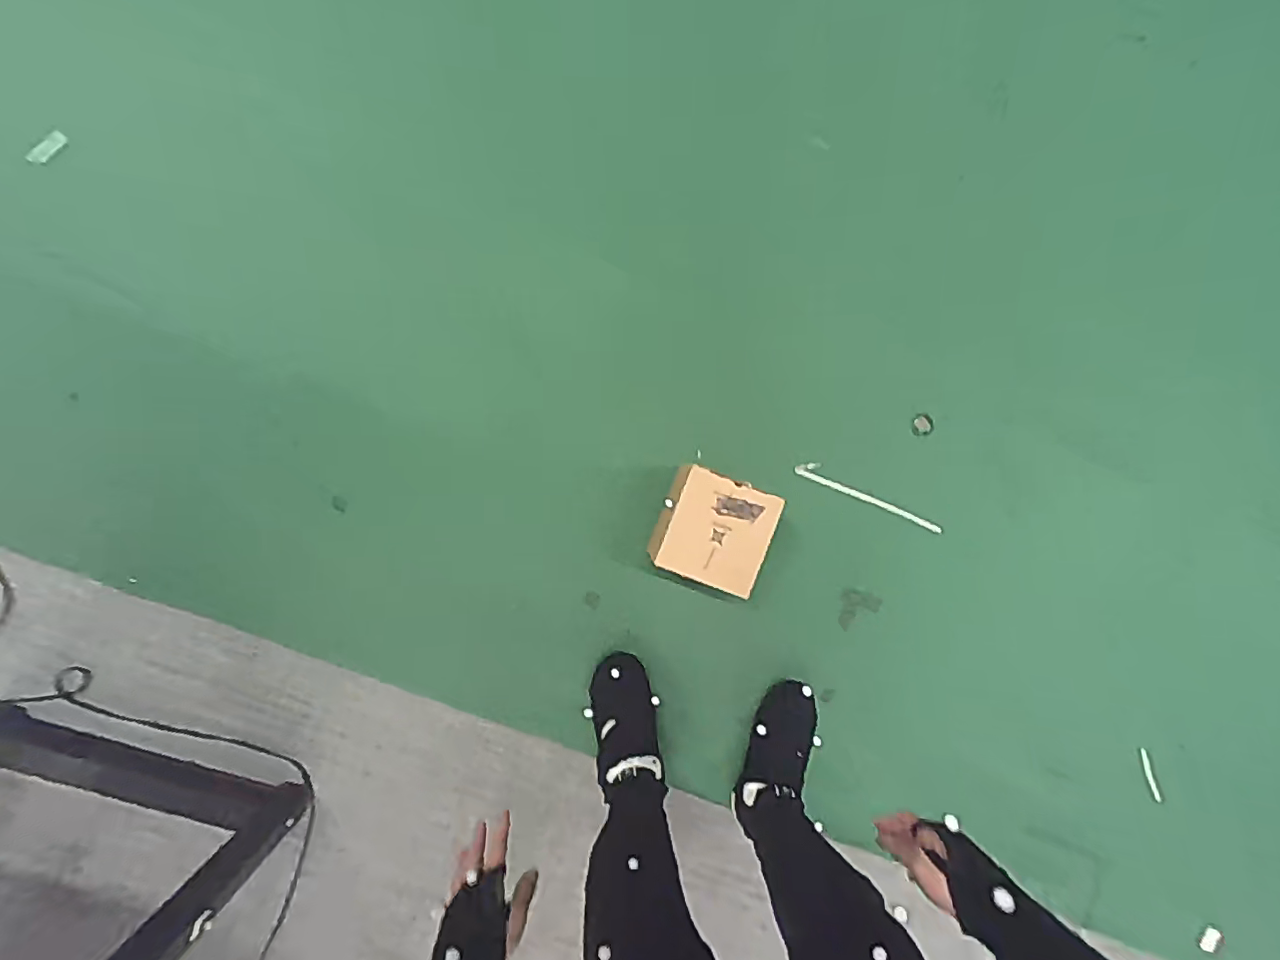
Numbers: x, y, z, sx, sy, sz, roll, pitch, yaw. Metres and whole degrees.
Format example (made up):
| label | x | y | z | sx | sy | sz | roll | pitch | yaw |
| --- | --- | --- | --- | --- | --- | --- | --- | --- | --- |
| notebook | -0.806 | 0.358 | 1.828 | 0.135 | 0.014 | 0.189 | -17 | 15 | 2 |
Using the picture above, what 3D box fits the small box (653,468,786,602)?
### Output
| label | x | y | z | sx | sy | sz | roll | pitch | yaw |
| --- | --- | --- | --- | --- | --- | --- | --- | --- | --- |
| small box | 0.129 | 0.088 | 0.952 | 0.168 | 0.176 | 0.179 | 22 | 90 | -3 |
